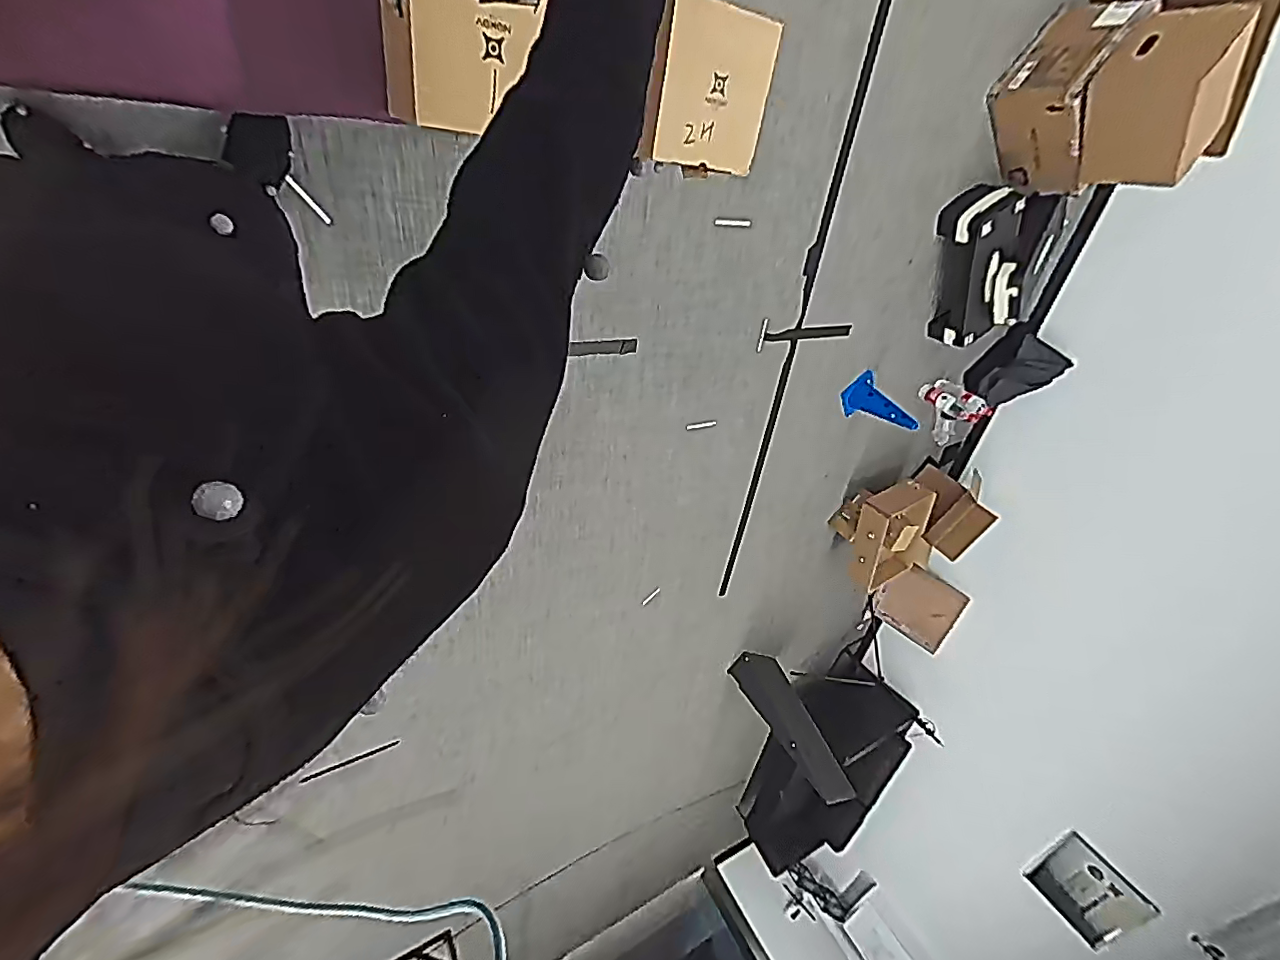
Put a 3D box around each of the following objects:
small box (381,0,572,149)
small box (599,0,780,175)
[{"bbox_3d":[-0.189,-0.494,0.608,0.168,0.176,0.179,-10,128,-29],"label":"small box"},{"bbox_3d":[0.056,-0.538,0.744,0.168,0.176,0.179,-9,127,-29],"label":"small box"}]
